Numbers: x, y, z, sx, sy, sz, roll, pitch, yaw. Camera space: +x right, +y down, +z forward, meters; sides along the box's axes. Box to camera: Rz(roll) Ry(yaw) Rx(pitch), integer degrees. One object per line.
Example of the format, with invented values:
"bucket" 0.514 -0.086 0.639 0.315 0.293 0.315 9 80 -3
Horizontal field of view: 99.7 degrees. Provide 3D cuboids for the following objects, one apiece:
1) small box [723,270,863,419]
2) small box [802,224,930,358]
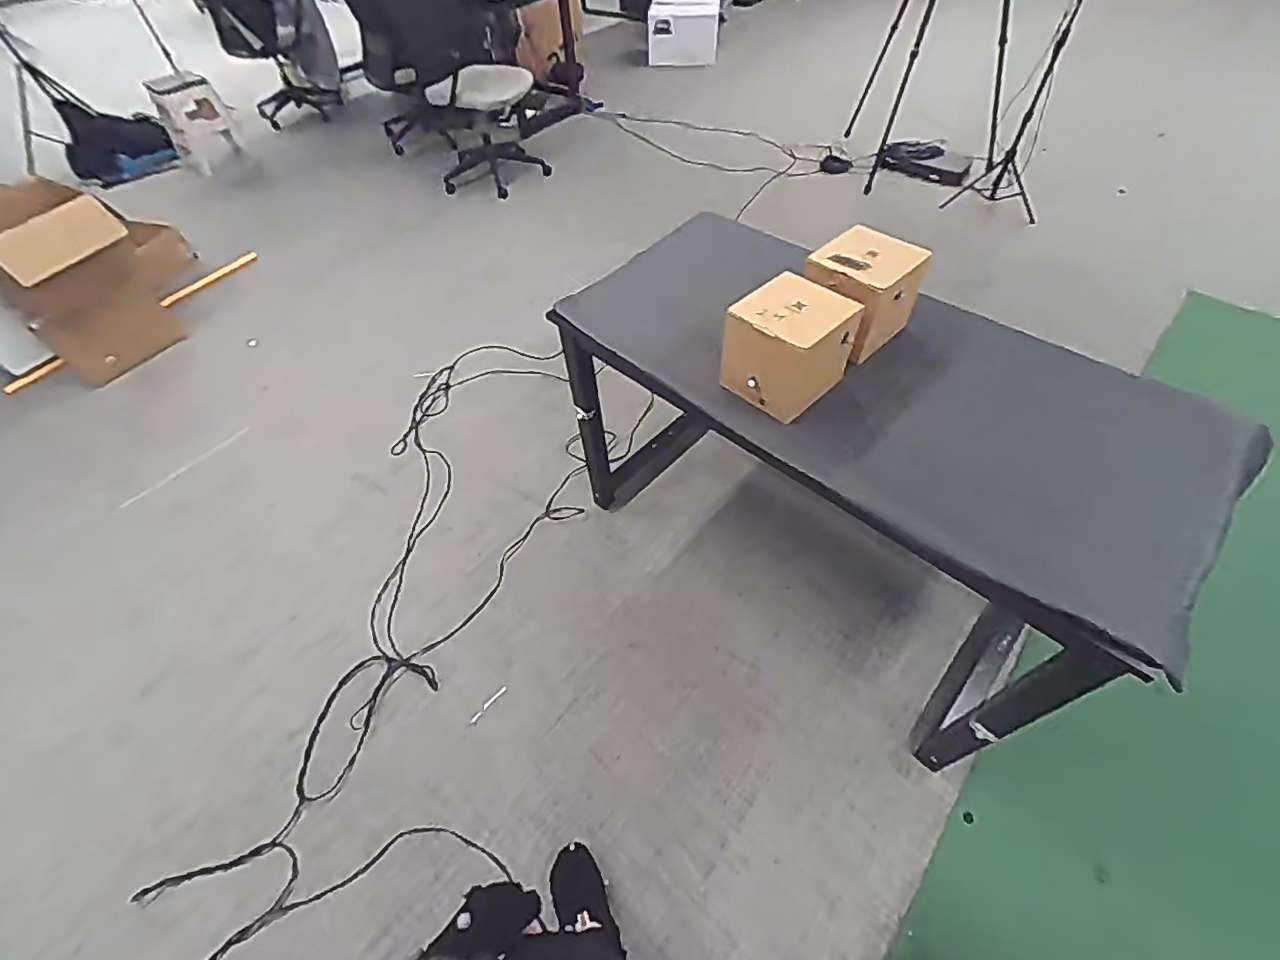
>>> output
"small box" 0.268 -0.246 0.987 0.179 0.176 0.168 -38 60 -24
"small box" 0.434 -0.374 1.079 0.179 0.176 0.168 -38 60 -23
